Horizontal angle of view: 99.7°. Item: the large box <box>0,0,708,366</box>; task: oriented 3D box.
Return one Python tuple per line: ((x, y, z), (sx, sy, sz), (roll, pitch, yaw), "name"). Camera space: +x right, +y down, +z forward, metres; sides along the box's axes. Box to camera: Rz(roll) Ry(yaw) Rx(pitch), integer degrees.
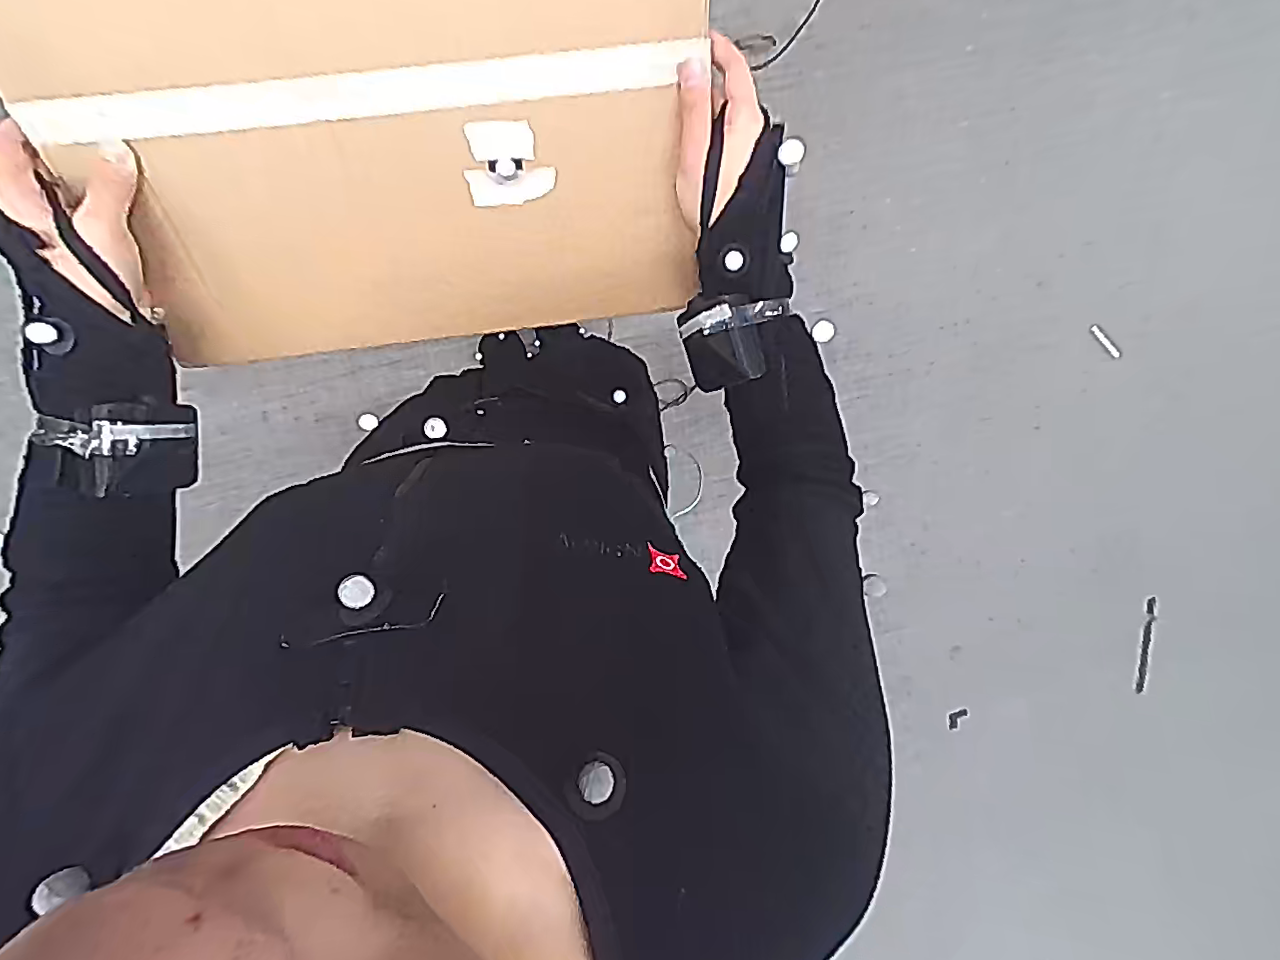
((-0.178, -0.328, 0.453), (0.408, 0.320, 0.320), (-9, 129, -5), "large box")
